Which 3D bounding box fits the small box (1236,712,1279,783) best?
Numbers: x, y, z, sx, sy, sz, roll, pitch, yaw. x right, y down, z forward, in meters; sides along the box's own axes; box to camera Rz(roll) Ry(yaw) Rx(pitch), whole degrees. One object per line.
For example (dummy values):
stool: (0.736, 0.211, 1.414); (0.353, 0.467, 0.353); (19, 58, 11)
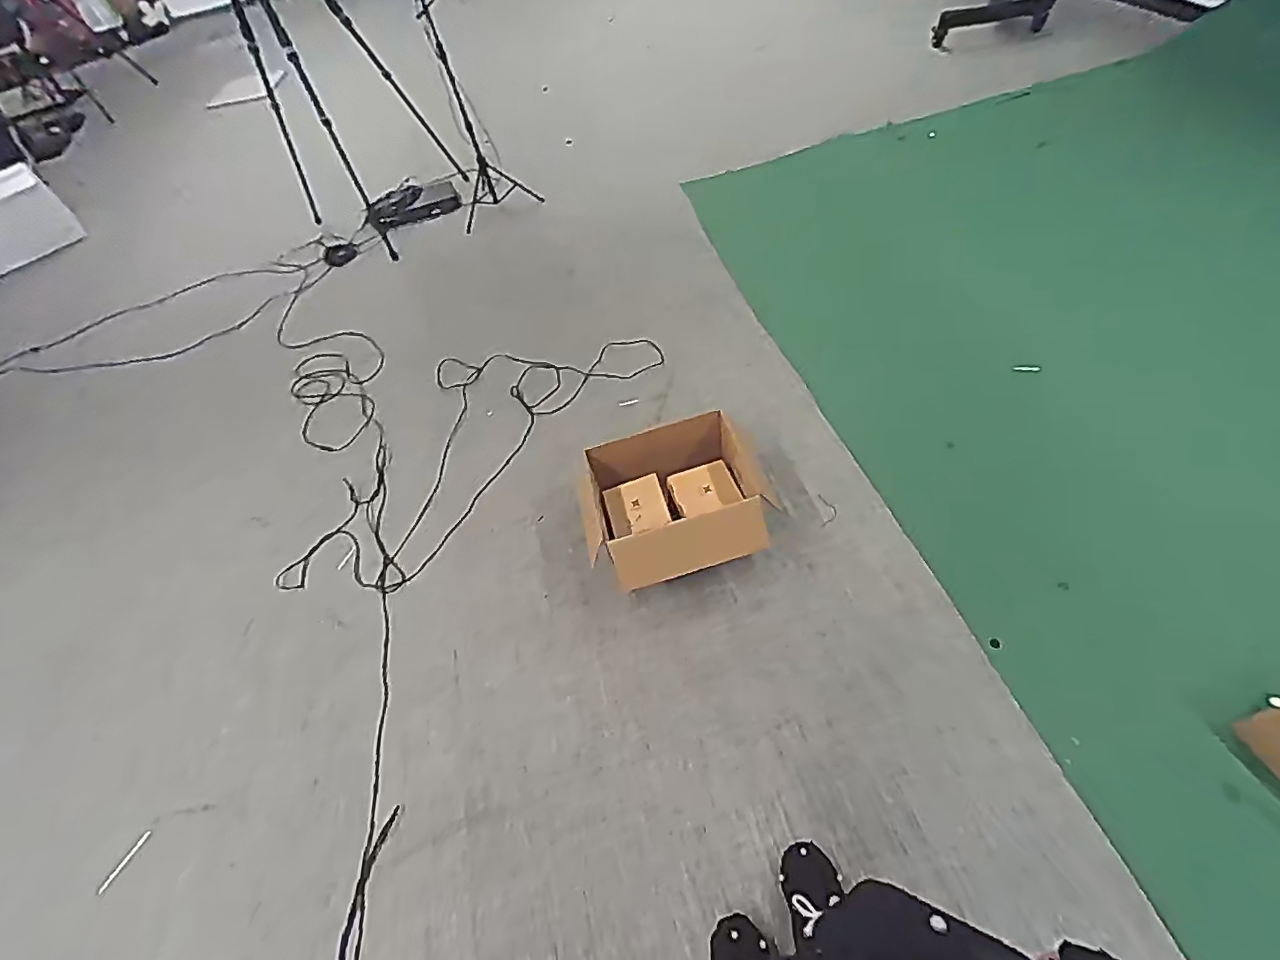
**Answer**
small box: (1.386, 0.544, 1.073); (0.168, 0.176, 0.179); (-19, 53, -4)
